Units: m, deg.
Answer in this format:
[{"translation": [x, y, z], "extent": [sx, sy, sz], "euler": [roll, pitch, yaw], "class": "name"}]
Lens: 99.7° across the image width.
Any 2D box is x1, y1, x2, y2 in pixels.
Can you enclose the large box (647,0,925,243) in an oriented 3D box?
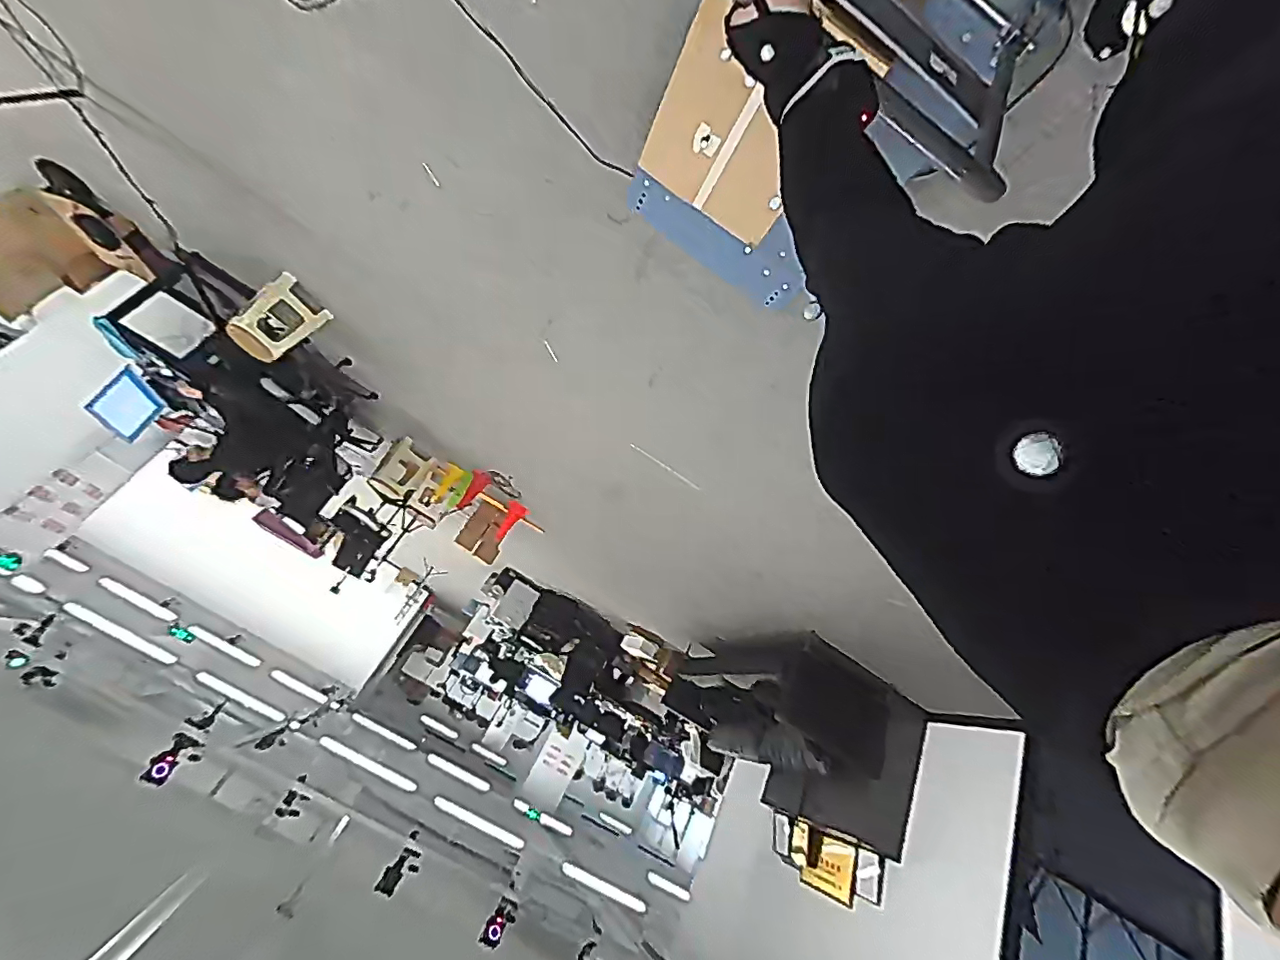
[{"translation": [0.268, -0.775, 1.047], "extent": [0.320, 0.320, 0.408], "euler": [34, 153, -7], "class": "large box"}]
